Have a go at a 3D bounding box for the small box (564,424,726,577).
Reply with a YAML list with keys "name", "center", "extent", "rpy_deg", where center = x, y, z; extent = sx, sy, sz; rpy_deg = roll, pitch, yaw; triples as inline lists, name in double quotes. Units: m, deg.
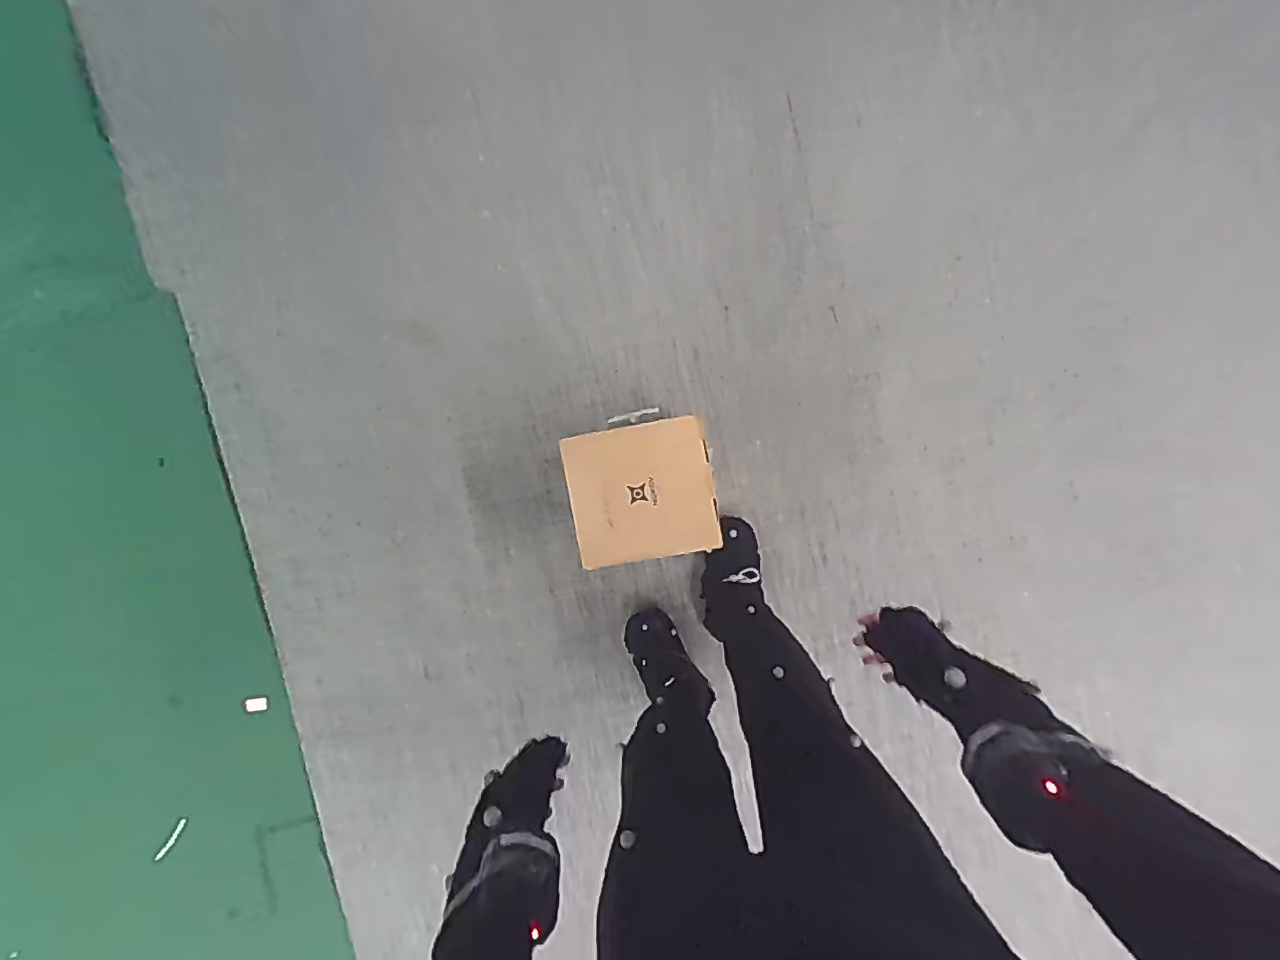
- name: "small box"
  center: [0.010, 0.021, 0.736]
  extent: [0.179, 0.176, 0.168]
  rpy_deg: [-11, 92, 5]
